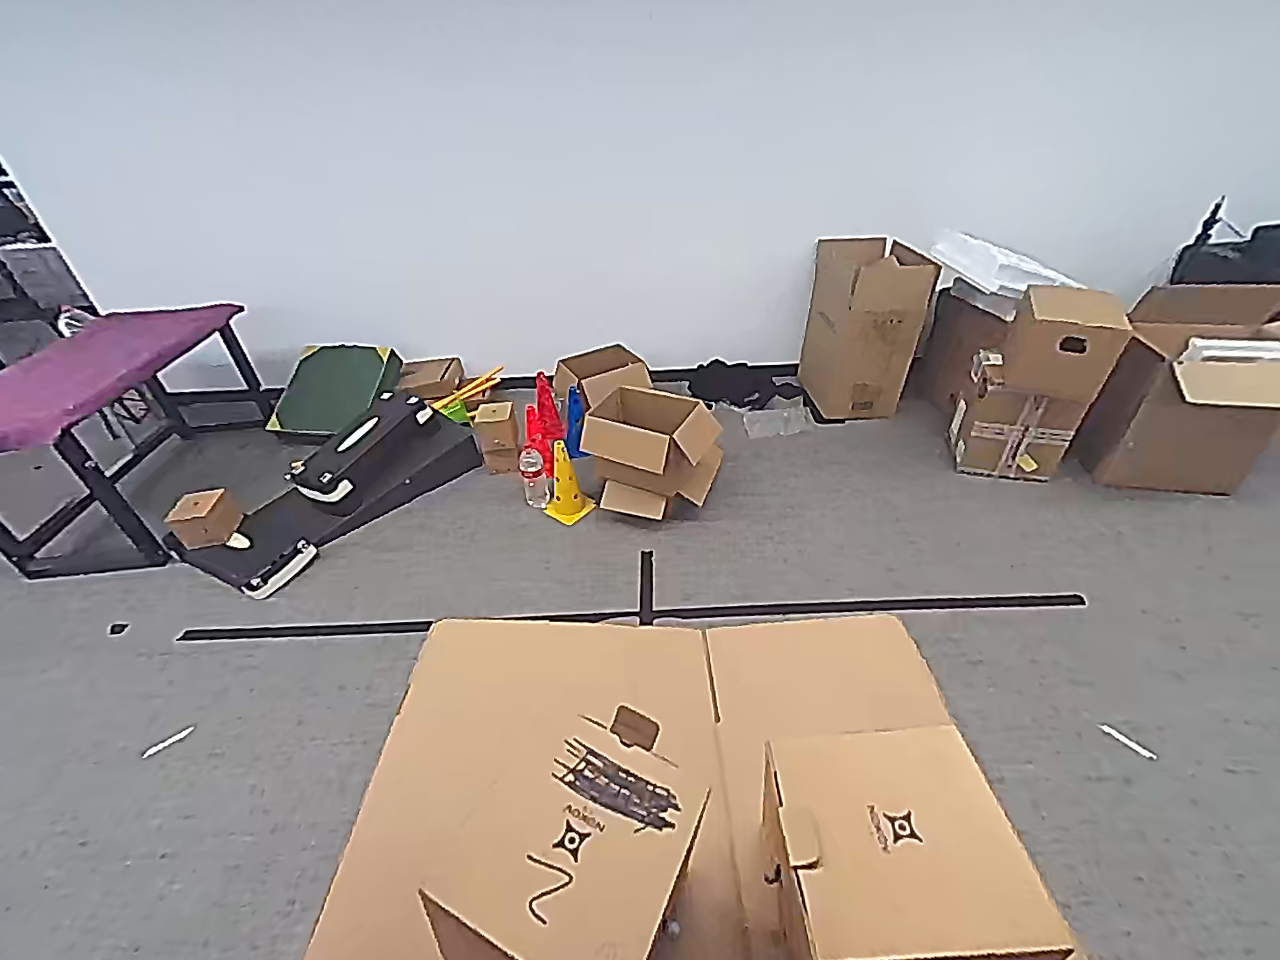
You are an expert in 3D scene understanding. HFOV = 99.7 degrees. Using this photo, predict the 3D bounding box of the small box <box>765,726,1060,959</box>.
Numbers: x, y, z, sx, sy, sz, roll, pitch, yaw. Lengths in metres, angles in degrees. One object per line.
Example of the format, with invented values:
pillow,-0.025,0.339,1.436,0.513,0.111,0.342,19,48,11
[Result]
small box,0.216,0.351,0.490,0.179,0.176,0.168,-6,33,2
